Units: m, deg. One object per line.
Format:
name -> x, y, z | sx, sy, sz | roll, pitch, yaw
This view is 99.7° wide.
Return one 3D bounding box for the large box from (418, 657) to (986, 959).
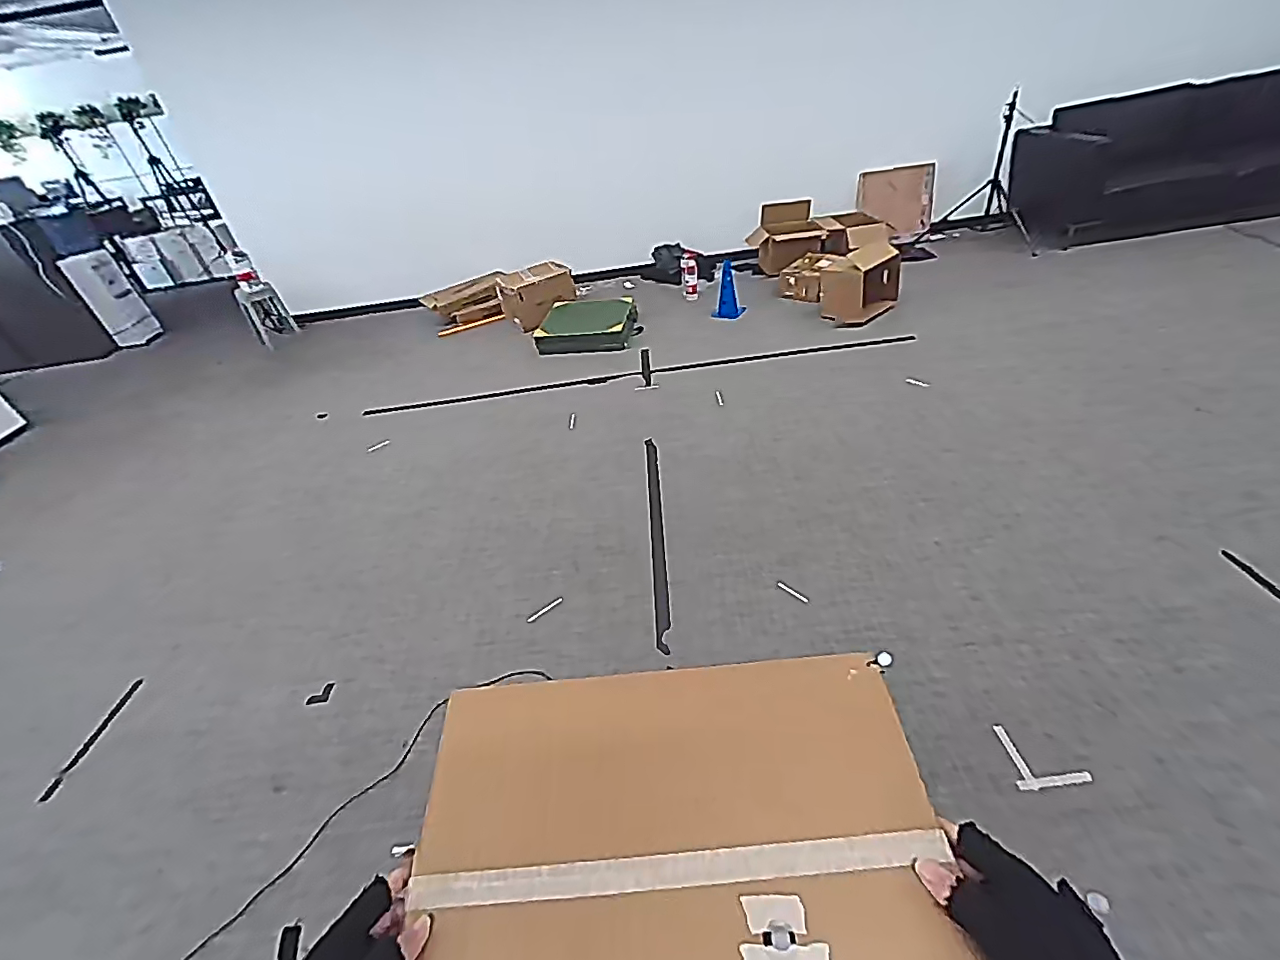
large box -> 0.044, 0.405, 0.520 | 0.408, 0.320, 0.320 | -6, 45, 1
